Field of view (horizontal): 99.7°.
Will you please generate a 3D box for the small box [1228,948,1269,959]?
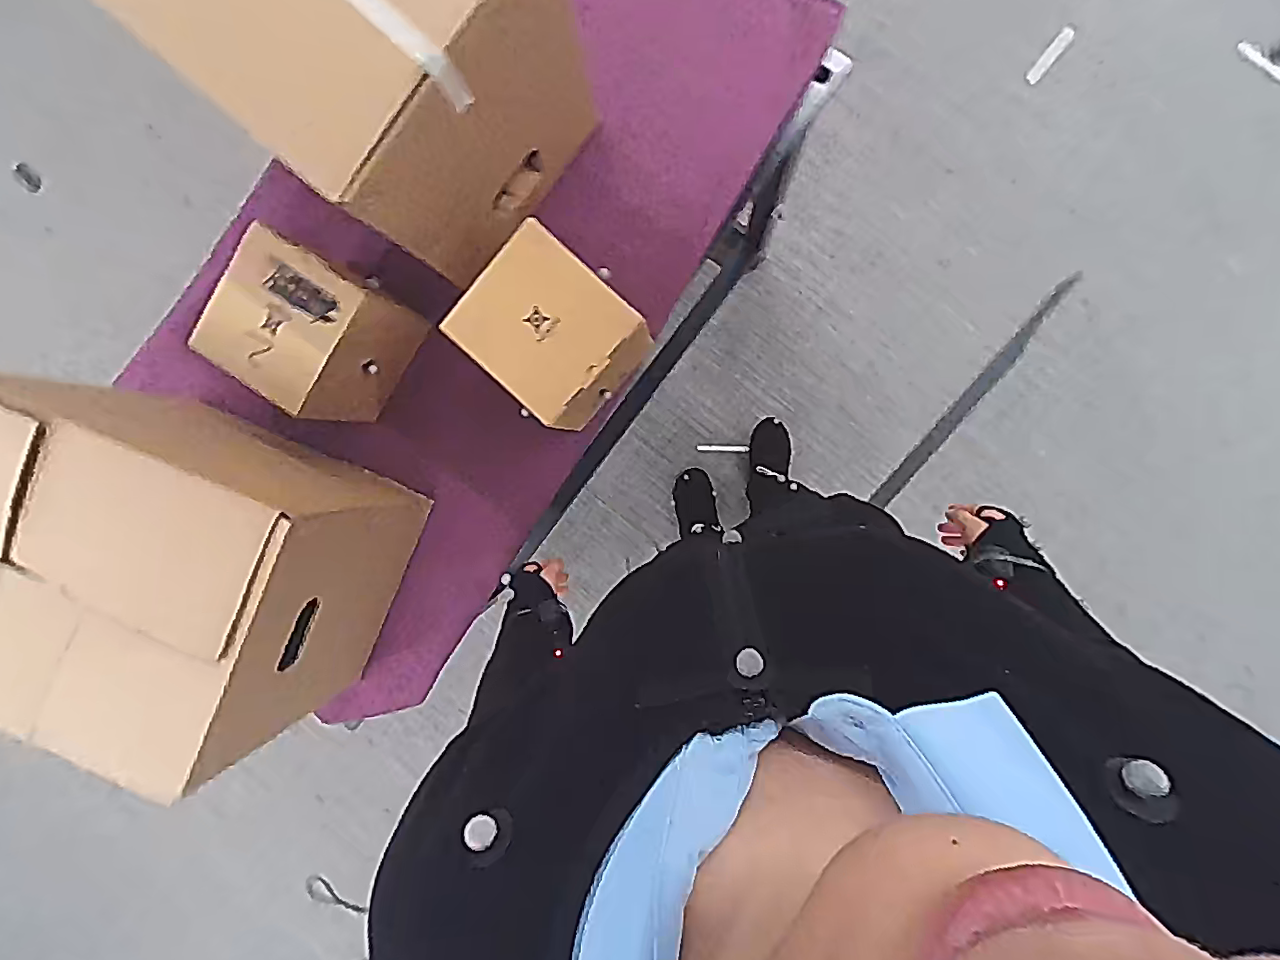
[{"bbox_3d":[1.610,1.341,1.357,0.179,0.176,0.168,34,96,2],"label":"small box"}]
